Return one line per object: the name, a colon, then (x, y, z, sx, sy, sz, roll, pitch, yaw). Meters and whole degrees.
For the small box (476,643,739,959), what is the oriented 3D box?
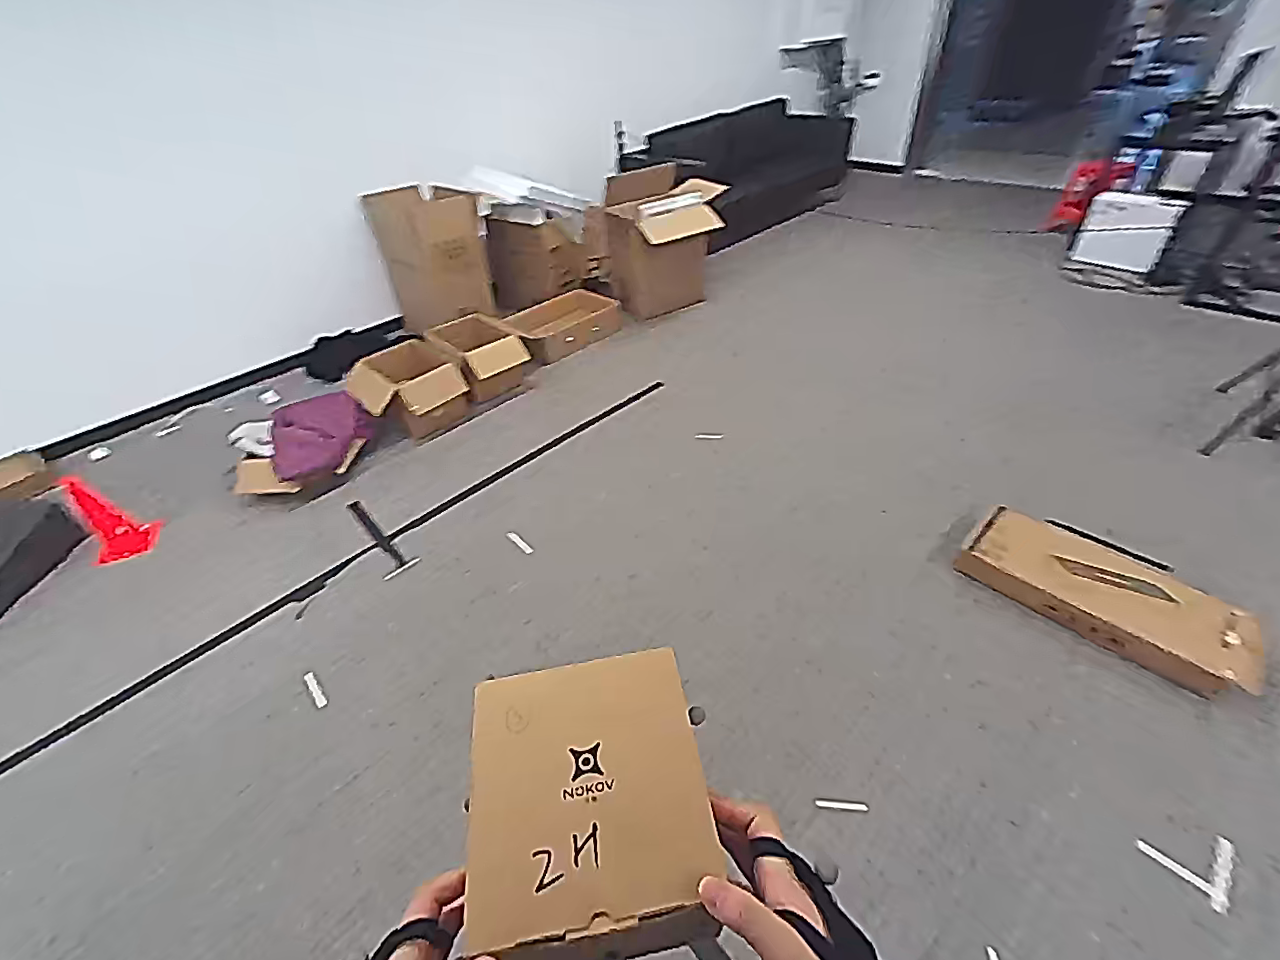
small box: (-0.026, 0.264, 0.445, 0.168, 0.176, 0.179, -9, 44, -4)
